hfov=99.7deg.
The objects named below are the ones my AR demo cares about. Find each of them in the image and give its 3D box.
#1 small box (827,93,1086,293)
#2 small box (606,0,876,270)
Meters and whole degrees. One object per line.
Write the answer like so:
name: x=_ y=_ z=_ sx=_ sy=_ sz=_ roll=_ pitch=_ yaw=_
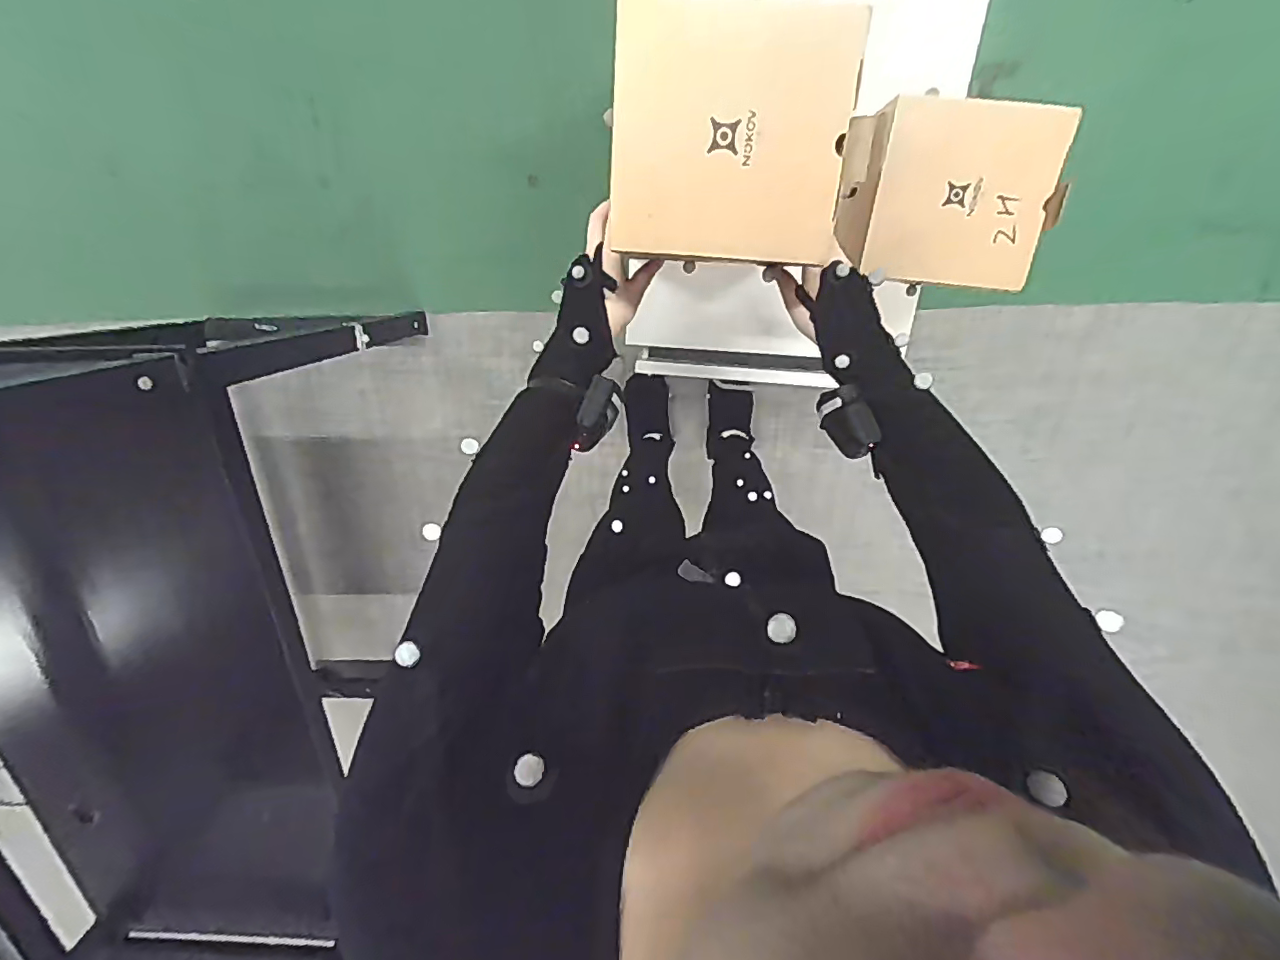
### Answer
small box: x=0.327 y=-0.306 z=0.607 sx=0.179 sy=0.176 sz=0.168 roll=6 pitch=112 yaw=1
small box: x=0.069 y=-0.273 z=0.461 sx=0.179 sy=0.176 sz=0.168 roll=4 pitch=111 yaw=1
